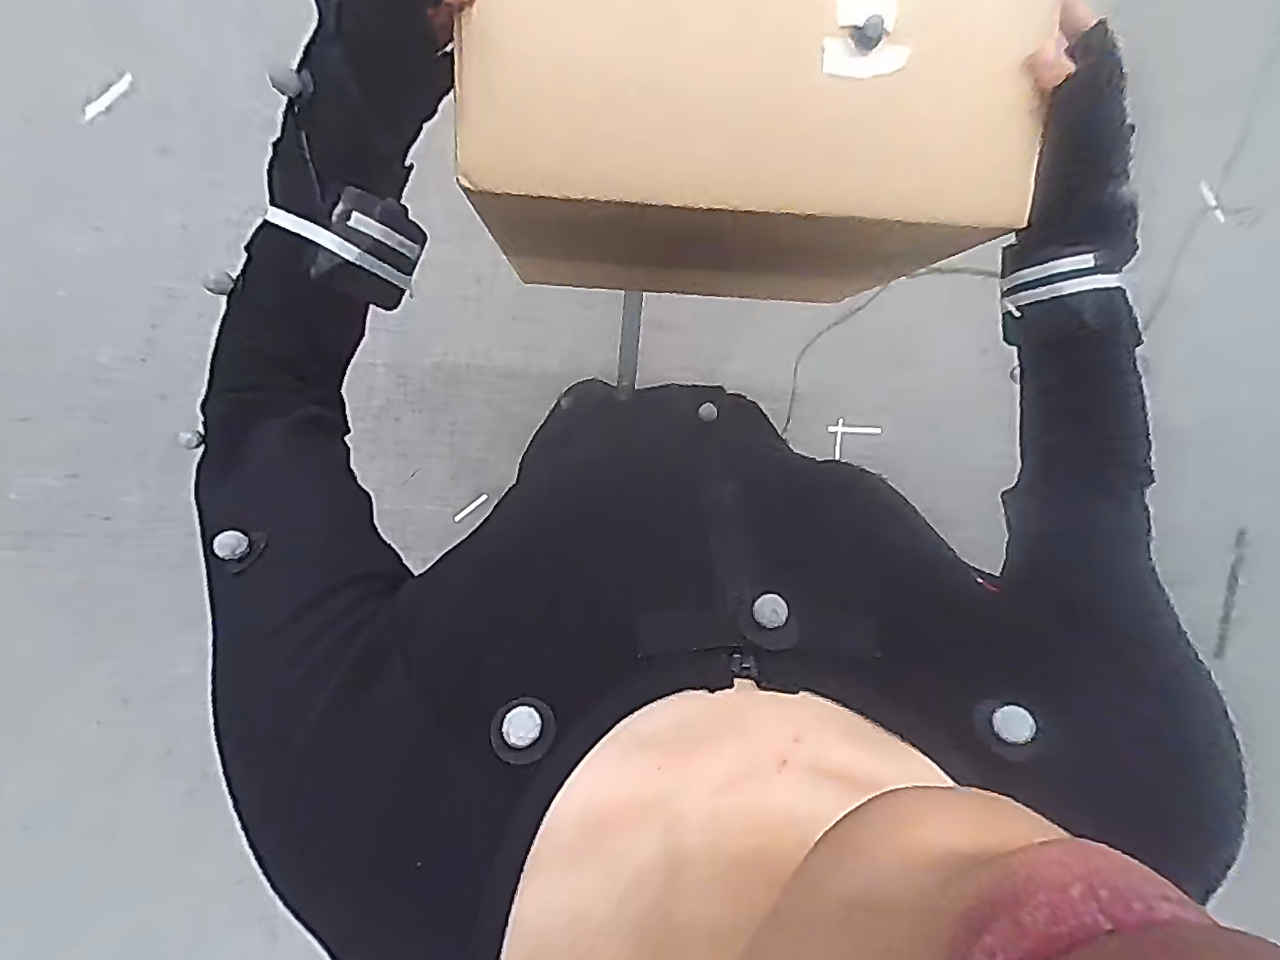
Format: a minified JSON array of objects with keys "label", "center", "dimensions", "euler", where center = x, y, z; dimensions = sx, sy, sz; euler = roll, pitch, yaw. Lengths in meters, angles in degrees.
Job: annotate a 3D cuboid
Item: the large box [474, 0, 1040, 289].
[{"label":"large box","center":[0.073,-0.375,0.514],"dimensions":[0.408,0.320,0.320],"euler":[1,99,-5]}]
